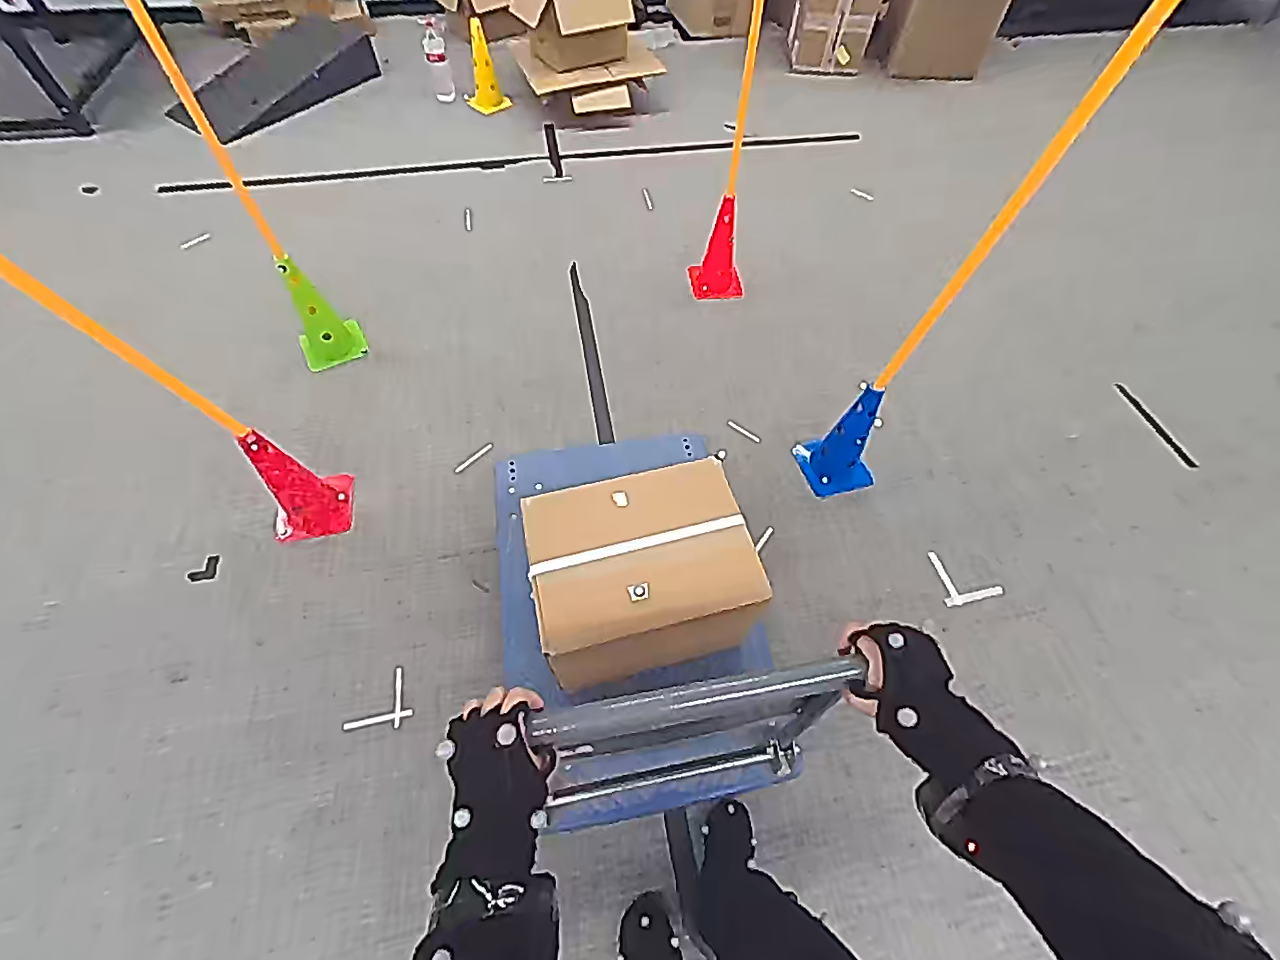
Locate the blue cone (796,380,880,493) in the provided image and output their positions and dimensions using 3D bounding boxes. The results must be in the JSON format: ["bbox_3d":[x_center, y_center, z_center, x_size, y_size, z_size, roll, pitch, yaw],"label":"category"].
[{"bbox_3d":[0.610,-0.137,1.563,0.193,0.380,0.192,-12,57,-10],"label":"blue cone"}]

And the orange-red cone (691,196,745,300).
[{"bbox_3d":[0.315,-0.875,2.009,0.199,0.360,0.198,-2,58,-5],"label":"orange-red cone"}]
